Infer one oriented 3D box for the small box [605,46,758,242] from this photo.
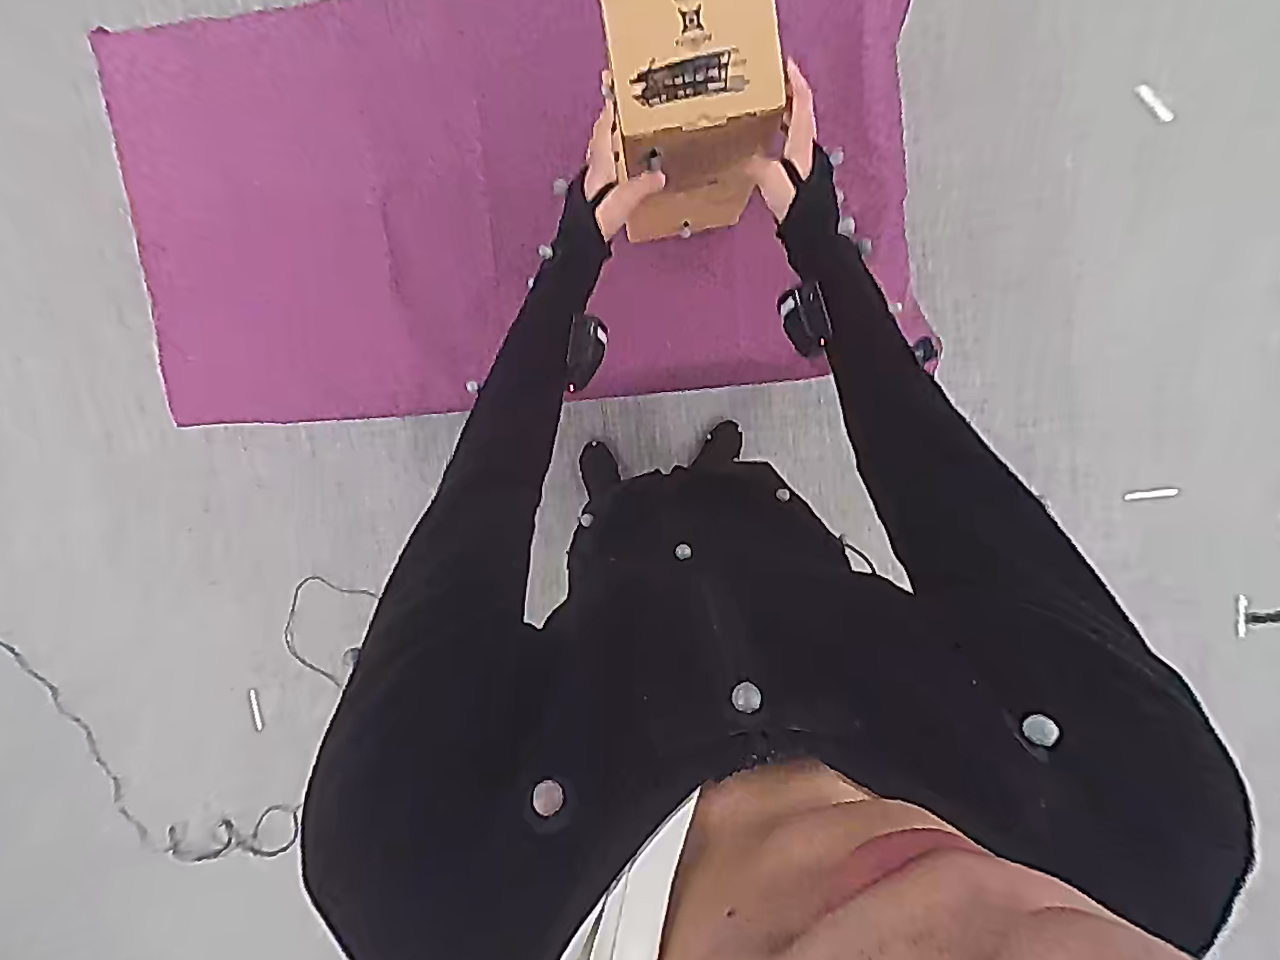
[{"bbox_3d":[0.053,-0.454,0.758,0.179,0.176,0.168,-10,96,2],"label":"small box"}]
